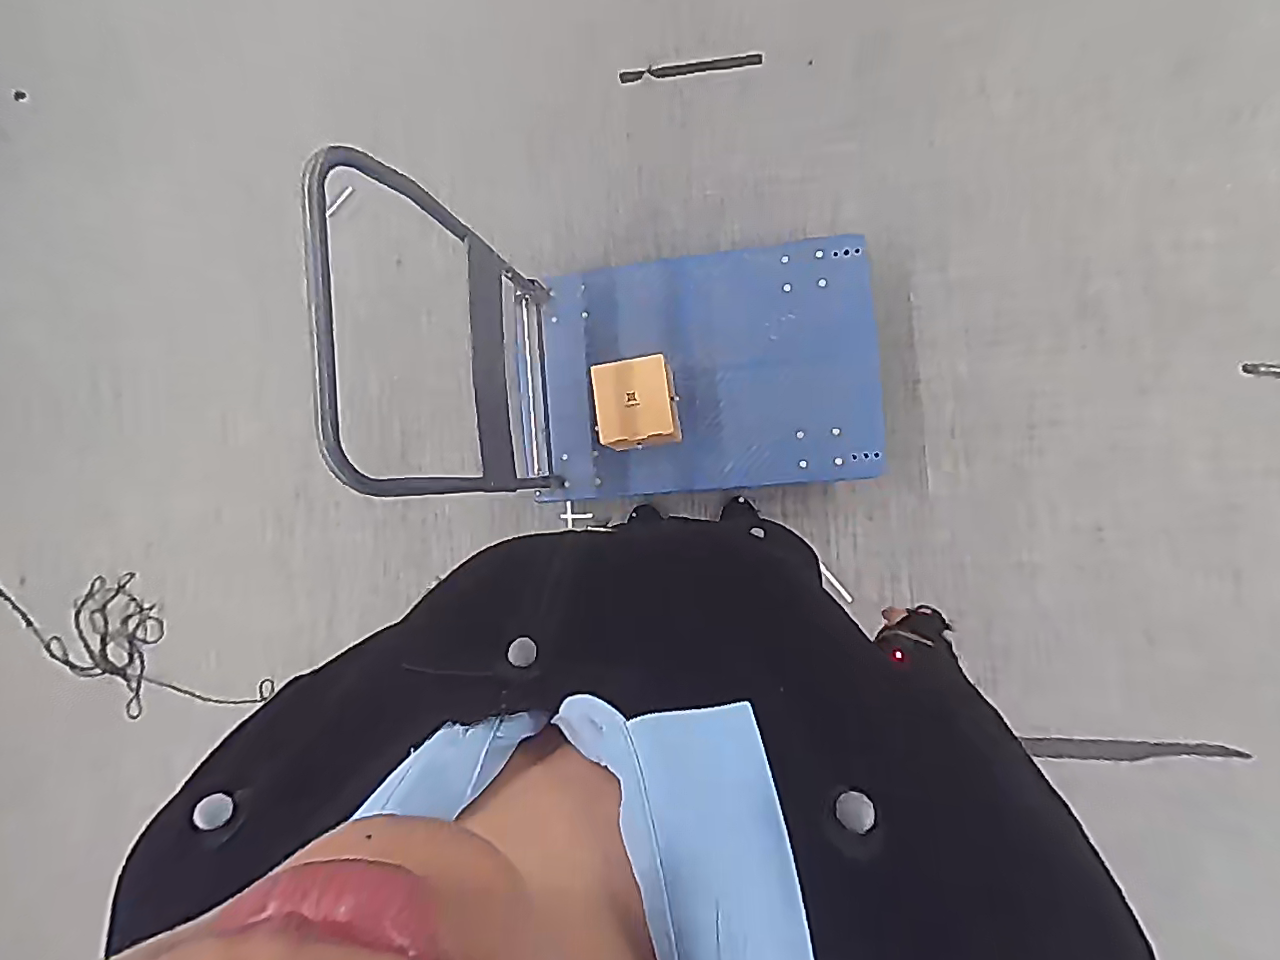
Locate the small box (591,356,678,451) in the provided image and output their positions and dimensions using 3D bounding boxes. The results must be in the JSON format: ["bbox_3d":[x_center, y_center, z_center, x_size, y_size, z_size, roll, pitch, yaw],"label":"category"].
[{"bbox_3d":[-0.007,-0.170,1.251,0.168,0.176,0.179,-8,88,9],"label":"small box"}]
